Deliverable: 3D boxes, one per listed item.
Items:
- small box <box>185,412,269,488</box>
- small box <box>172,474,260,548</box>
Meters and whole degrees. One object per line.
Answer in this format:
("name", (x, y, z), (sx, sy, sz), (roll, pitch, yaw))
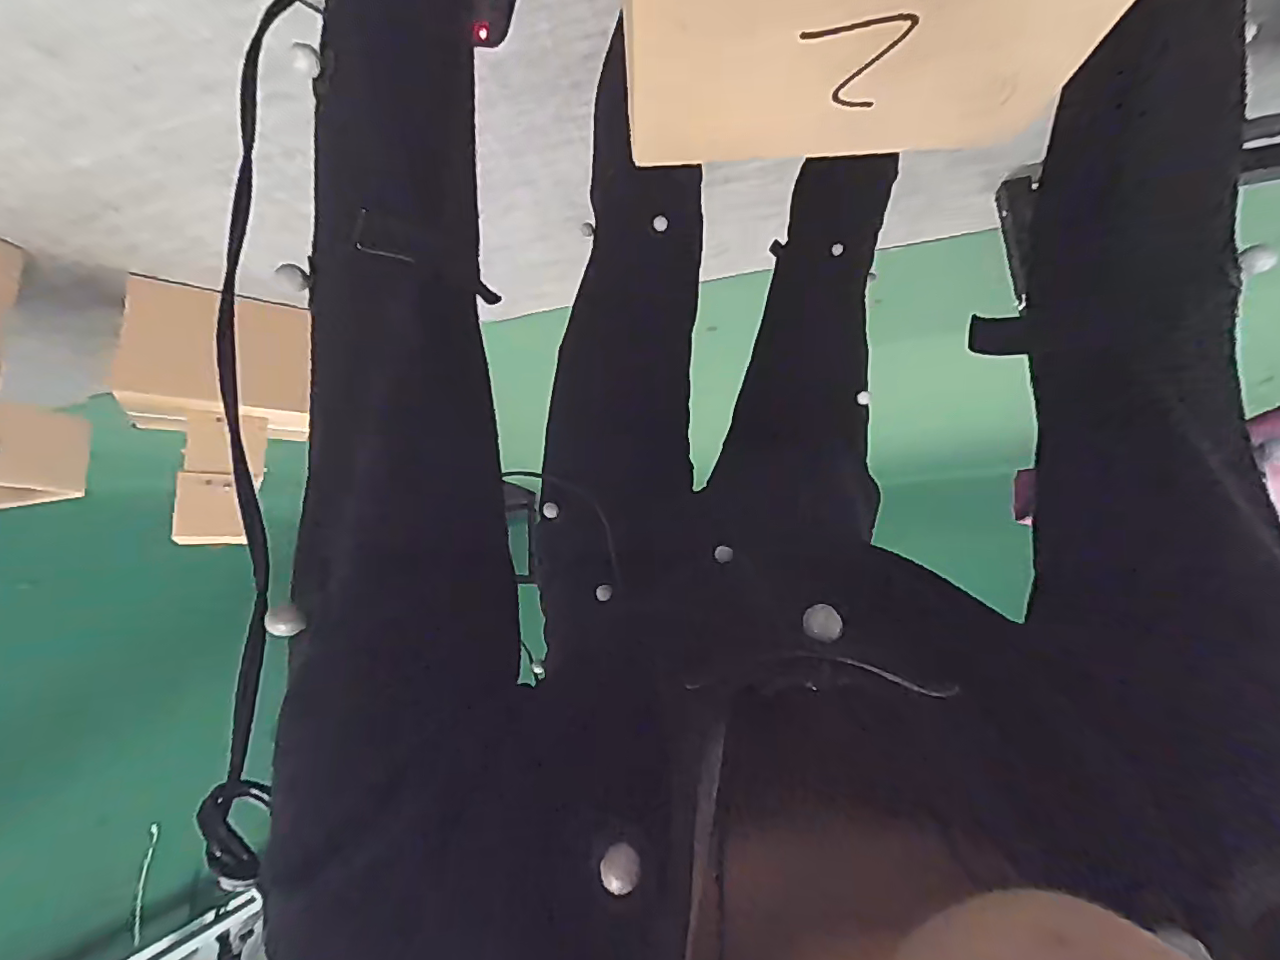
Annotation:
("small box", (-1.118, -0.071, 1.468), (0.168, 0.176, 0.179), (6, 164, -37))
("small box", (-1.111, 0.087, 1.427), (0.168, 0.176, 0.179), (5, 166, -35))
